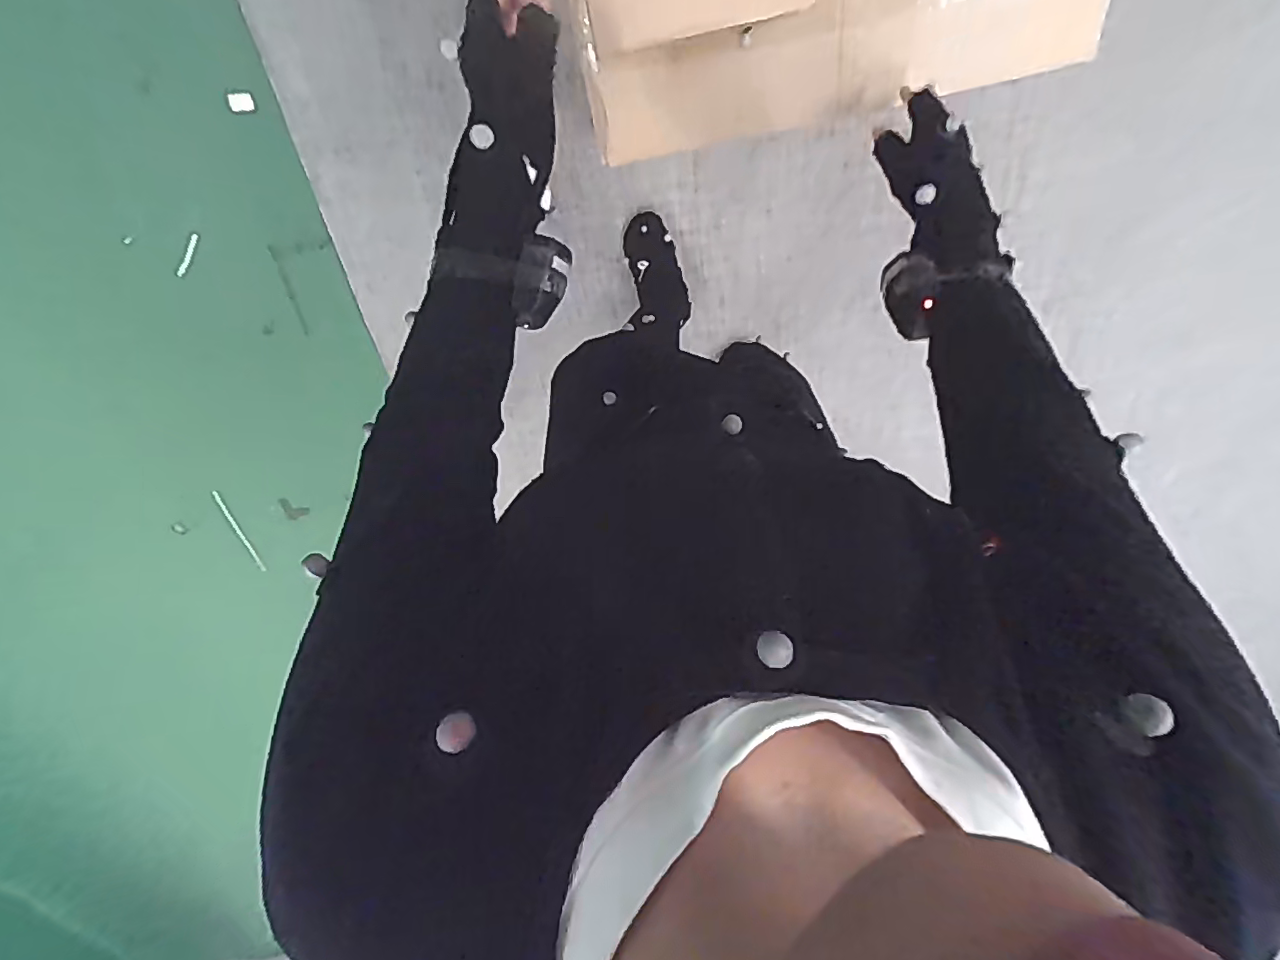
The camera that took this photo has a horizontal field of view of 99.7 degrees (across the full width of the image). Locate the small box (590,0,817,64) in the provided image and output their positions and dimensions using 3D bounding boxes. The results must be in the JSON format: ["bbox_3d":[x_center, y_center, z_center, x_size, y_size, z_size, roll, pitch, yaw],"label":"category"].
[{"bbox_3d":[0.037,-0.464,0.446,0.179,0.176,0.168,-9,126,6],"label":"small box"}]
